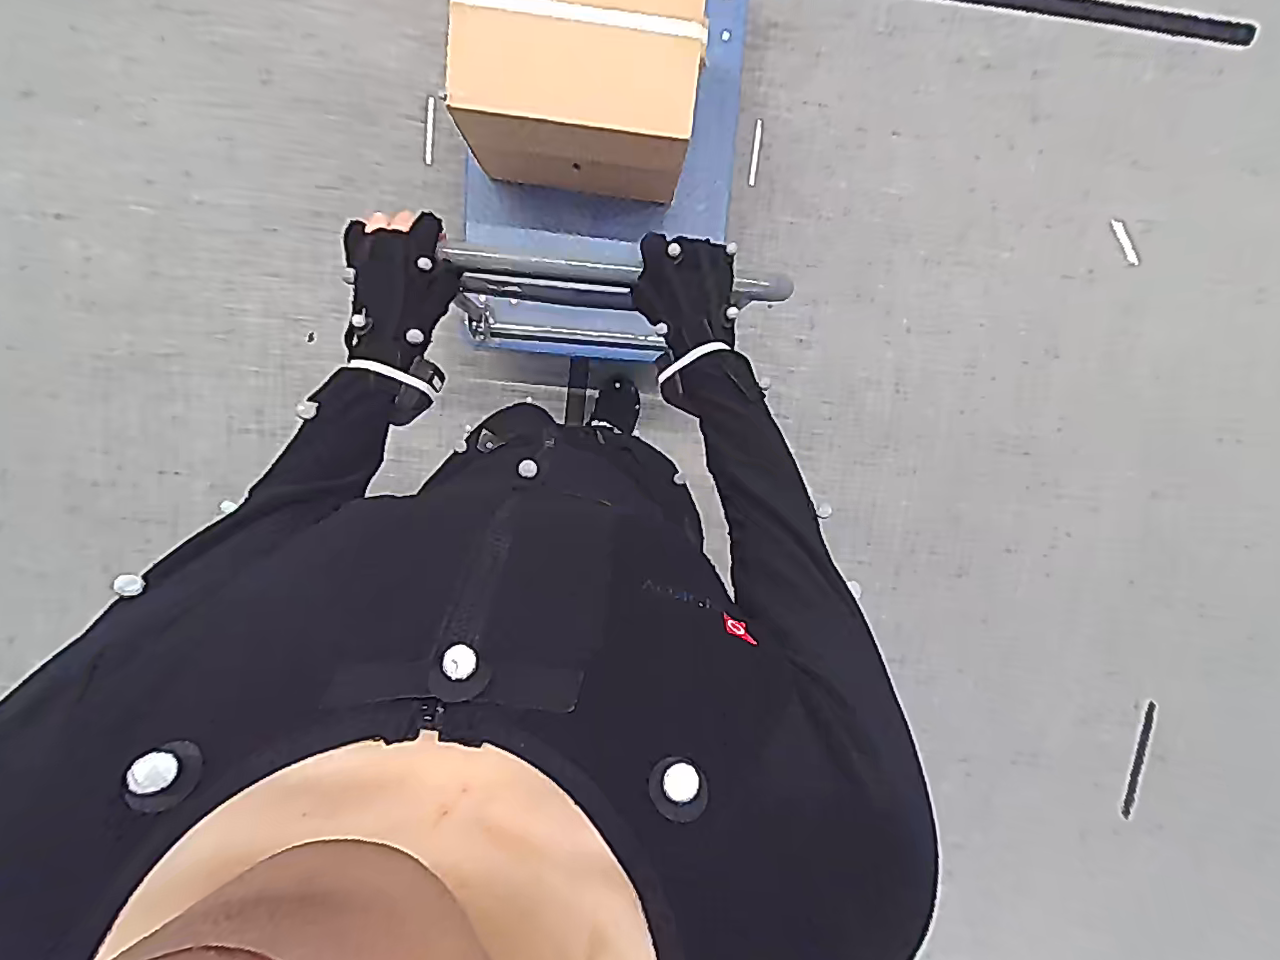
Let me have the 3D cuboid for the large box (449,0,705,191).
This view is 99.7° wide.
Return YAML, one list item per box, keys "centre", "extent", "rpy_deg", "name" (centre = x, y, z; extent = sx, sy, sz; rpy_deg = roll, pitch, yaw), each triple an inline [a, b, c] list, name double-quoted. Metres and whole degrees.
- centre: [-0.102, -0.769, 1.007]
  extent: [0.408, 0.320, 0.320]
  rpy_deg: [6, 99, -3]
  name: "large box"
